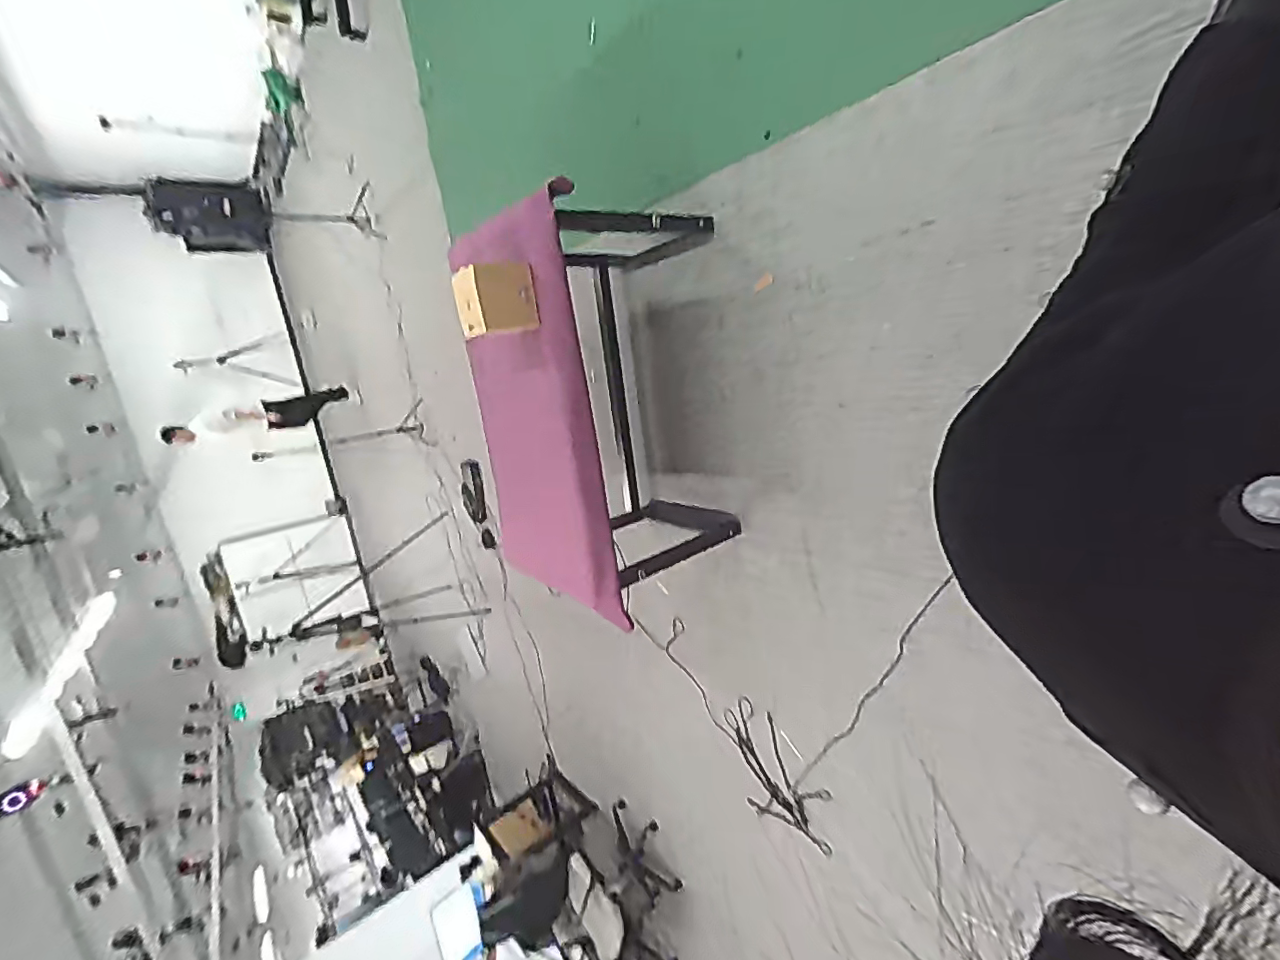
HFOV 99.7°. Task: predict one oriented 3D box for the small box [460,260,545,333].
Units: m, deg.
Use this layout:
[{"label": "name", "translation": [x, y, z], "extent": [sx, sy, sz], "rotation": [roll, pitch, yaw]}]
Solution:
[{"label": "small box", "translation": [-0.389, -0.521, 1.540], "extent": [0.168, 0.176, 0.179], "rotation": [11, 113, 53]}]
